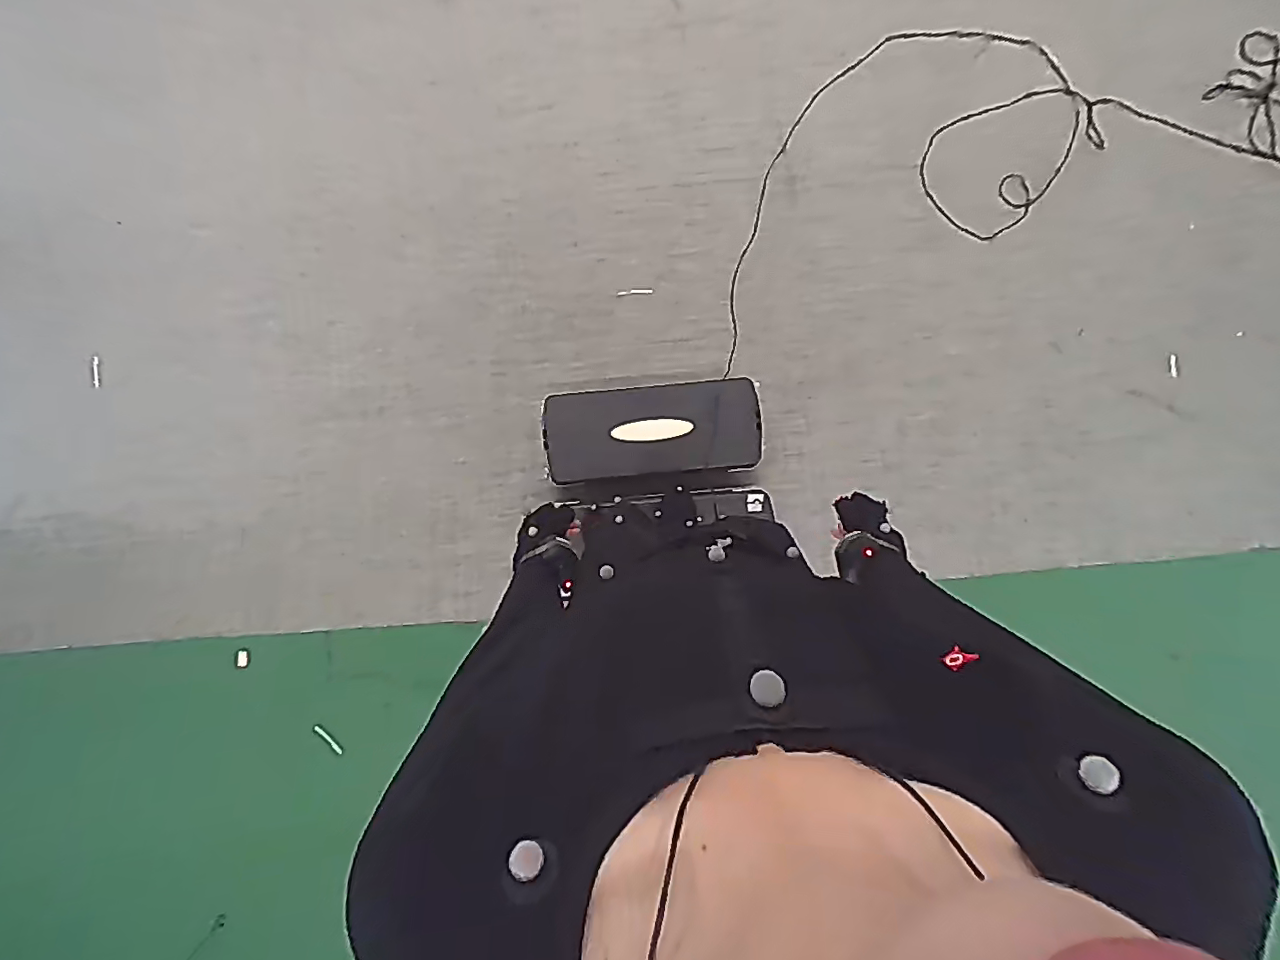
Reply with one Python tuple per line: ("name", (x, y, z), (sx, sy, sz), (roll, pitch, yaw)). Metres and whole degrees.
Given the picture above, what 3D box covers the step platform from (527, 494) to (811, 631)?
("step platform", (0.069, 0.202, 1.391), (0.684, 0.204, 0.286), (-5, 87, -1))
